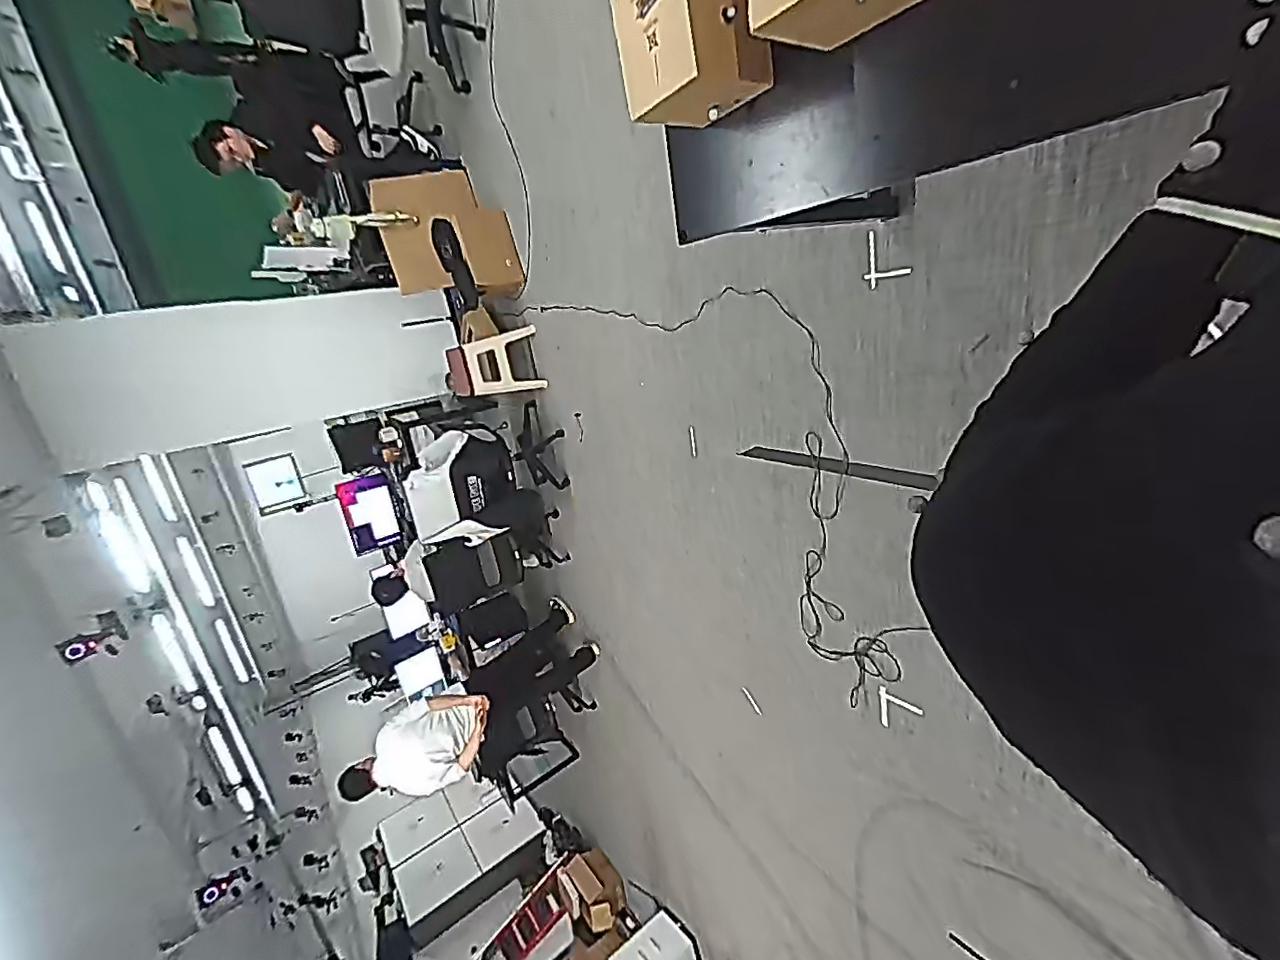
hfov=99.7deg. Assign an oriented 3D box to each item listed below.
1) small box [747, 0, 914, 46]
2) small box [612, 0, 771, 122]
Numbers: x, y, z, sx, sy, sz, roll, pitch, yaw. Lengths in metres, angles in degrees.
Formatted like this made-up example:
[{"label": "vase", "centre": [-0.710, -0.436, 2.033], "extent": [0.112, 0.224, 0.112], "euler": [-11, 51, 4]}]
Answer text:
[{"label": "small box", "centre": [0.240, -0.649, 0.630], "extent": [0.179, 0.176, 0.168], "euler": [13, 118, 52]}, {"label": "small box", "centre": [0.083, -0.687, 0.843], "extent": [0.168, 0.176, 0.179], "euler": [12, 118, 53]}]
